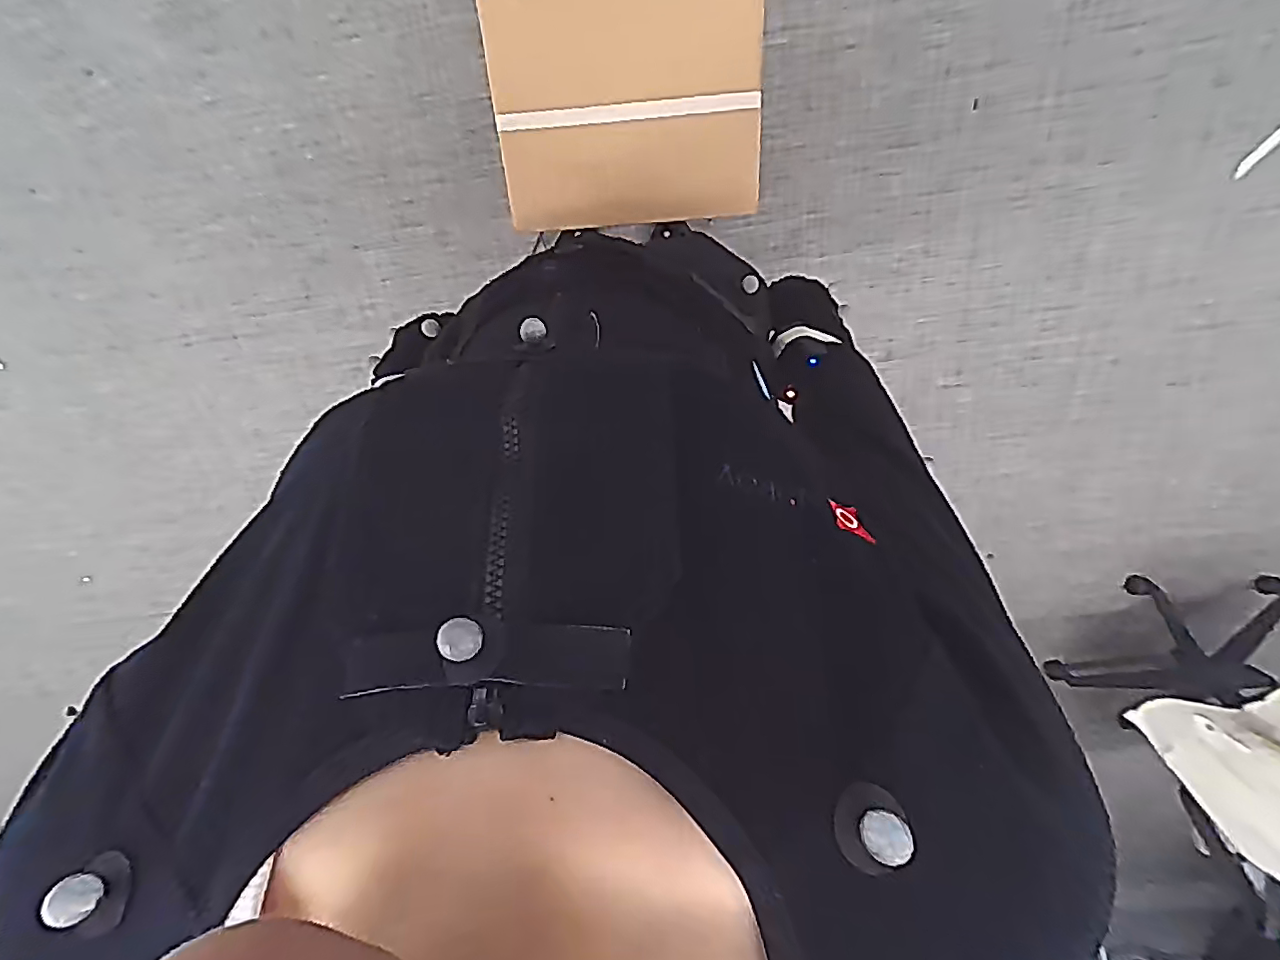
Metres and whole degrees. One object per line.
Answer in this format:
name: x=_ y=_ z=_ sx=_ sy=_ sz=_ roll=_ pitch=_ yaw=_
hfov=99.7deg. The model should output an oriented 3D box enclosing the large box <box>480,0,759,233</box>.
large box: x=-0.018 y=-0.633 z=0.956 sx=0.408 sy=0.320 sz=0.320 roll=-3 pitch=118 yaw=2
